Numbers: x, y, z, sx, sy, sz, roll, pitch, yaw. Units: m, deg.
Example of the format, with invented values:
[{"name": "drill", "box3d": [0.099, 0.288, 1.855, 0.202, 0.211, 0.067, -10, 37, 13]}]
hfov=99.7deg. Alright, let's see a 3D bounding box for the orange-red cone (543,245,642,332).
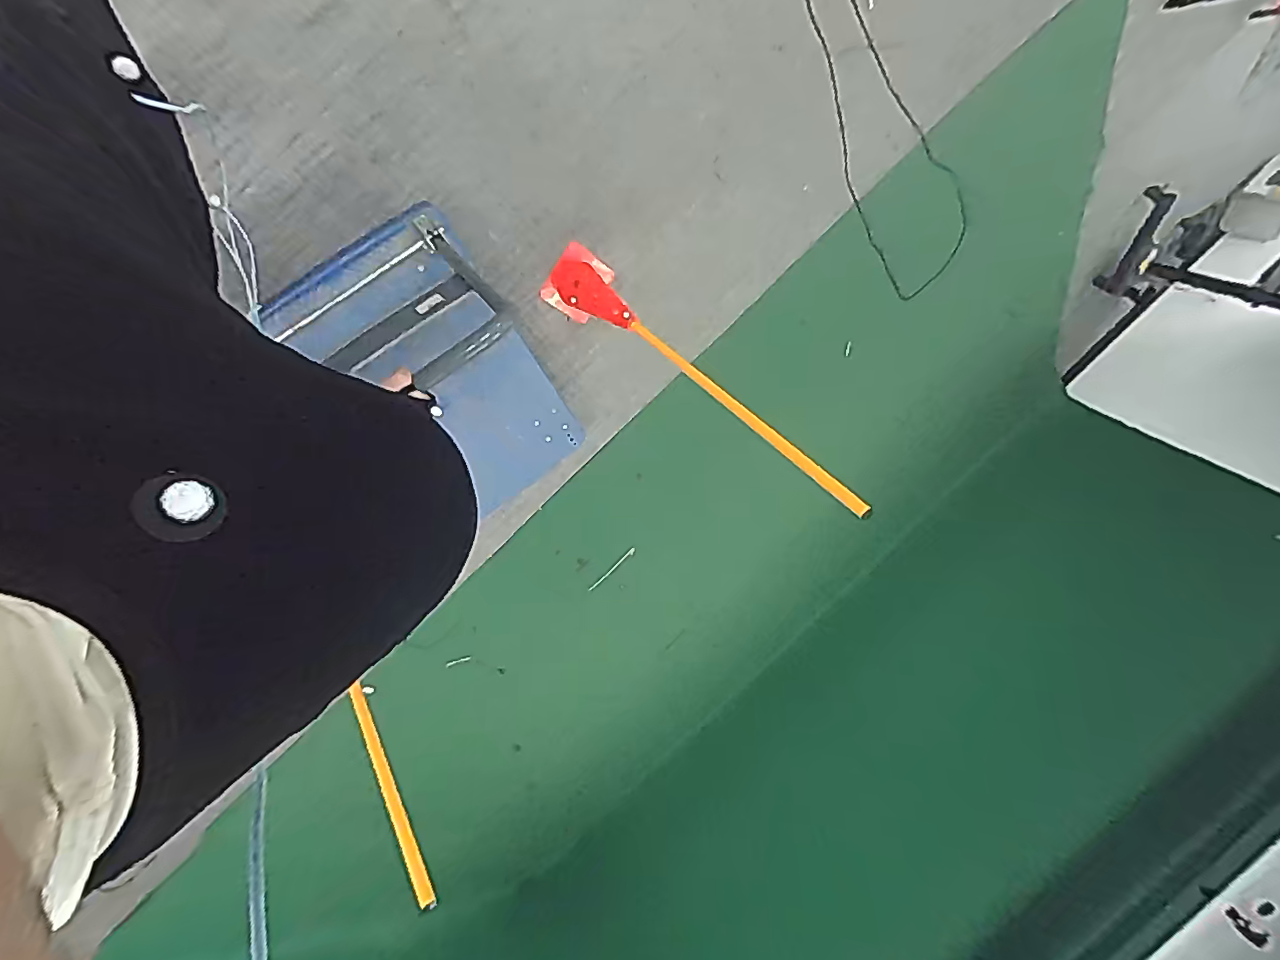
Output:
[{"name": "orange-red cone", "box3d": [-0.103, -0.526, 1.609, 0.198, 0.360, 0.199, 23, 107, -48]}]
